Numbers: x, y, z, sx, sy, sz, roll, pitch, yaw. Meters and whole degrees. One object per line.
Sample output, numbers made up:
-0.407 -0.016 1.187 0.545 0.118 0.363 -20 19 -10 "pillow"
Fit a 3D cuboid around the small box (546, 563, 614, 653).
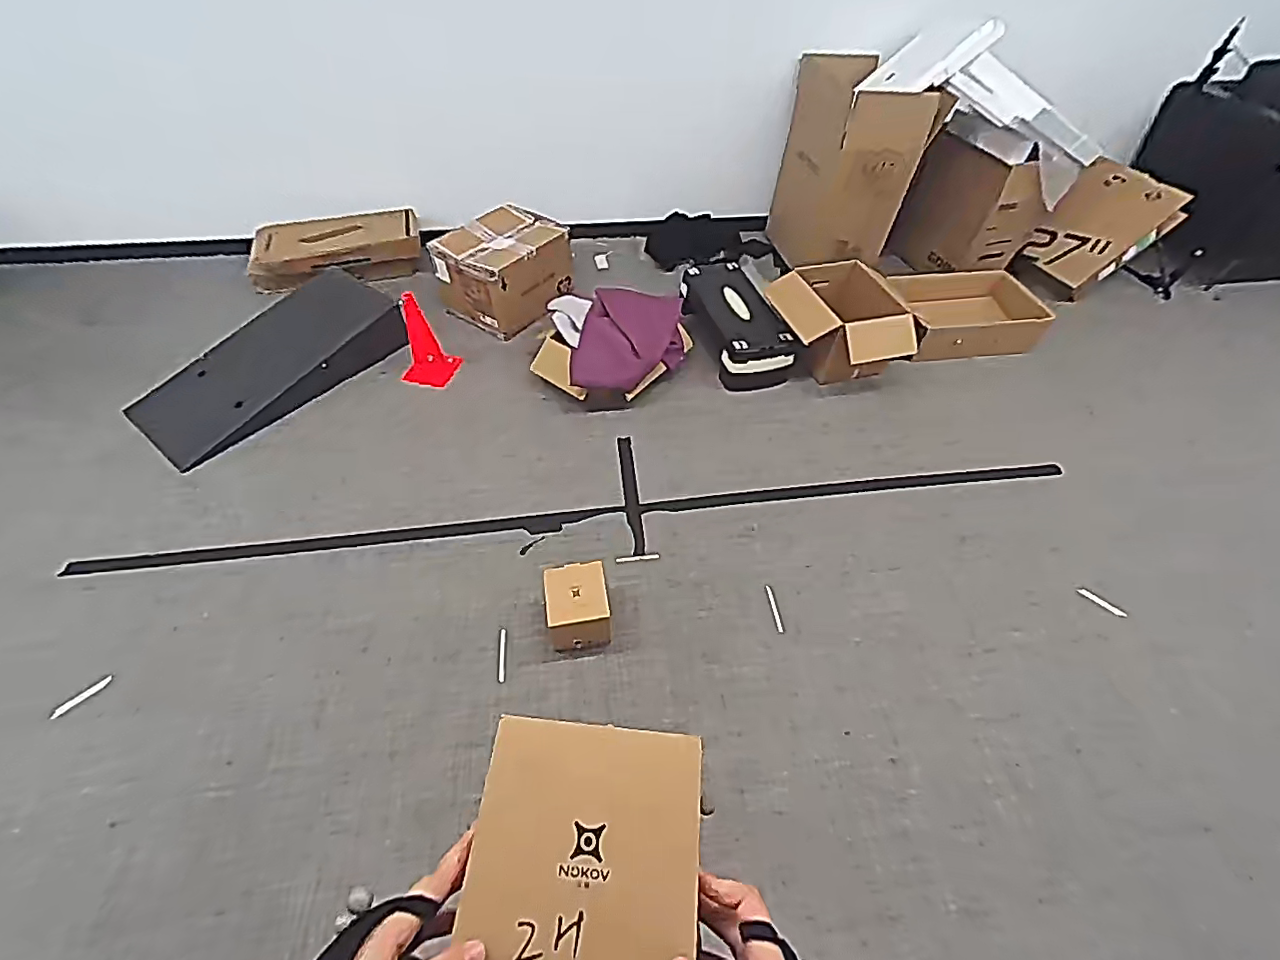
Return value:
-0.168 0.361 1.519 0.168 0.176 0.179 -9 52 -7 "small box"
